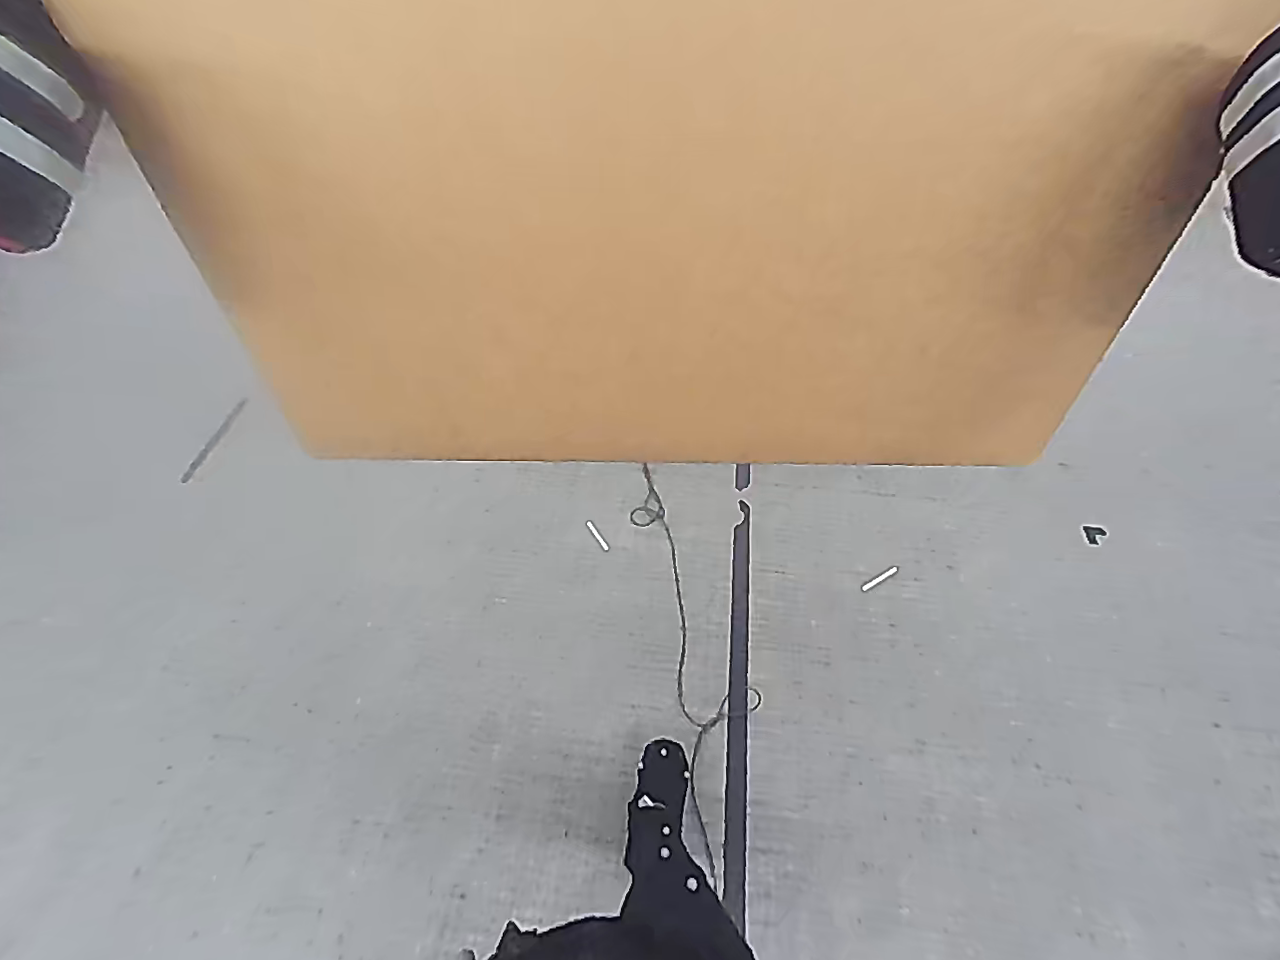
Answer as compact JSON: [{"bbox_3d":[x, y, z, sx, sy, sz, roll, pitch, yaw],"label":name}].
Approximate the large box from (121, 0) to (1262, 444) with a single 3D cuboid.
[{"bbox_3d":[0.017,-0.231,0.323,0.408,0.320,0.320,1,43,1],"label":"large box"}]
